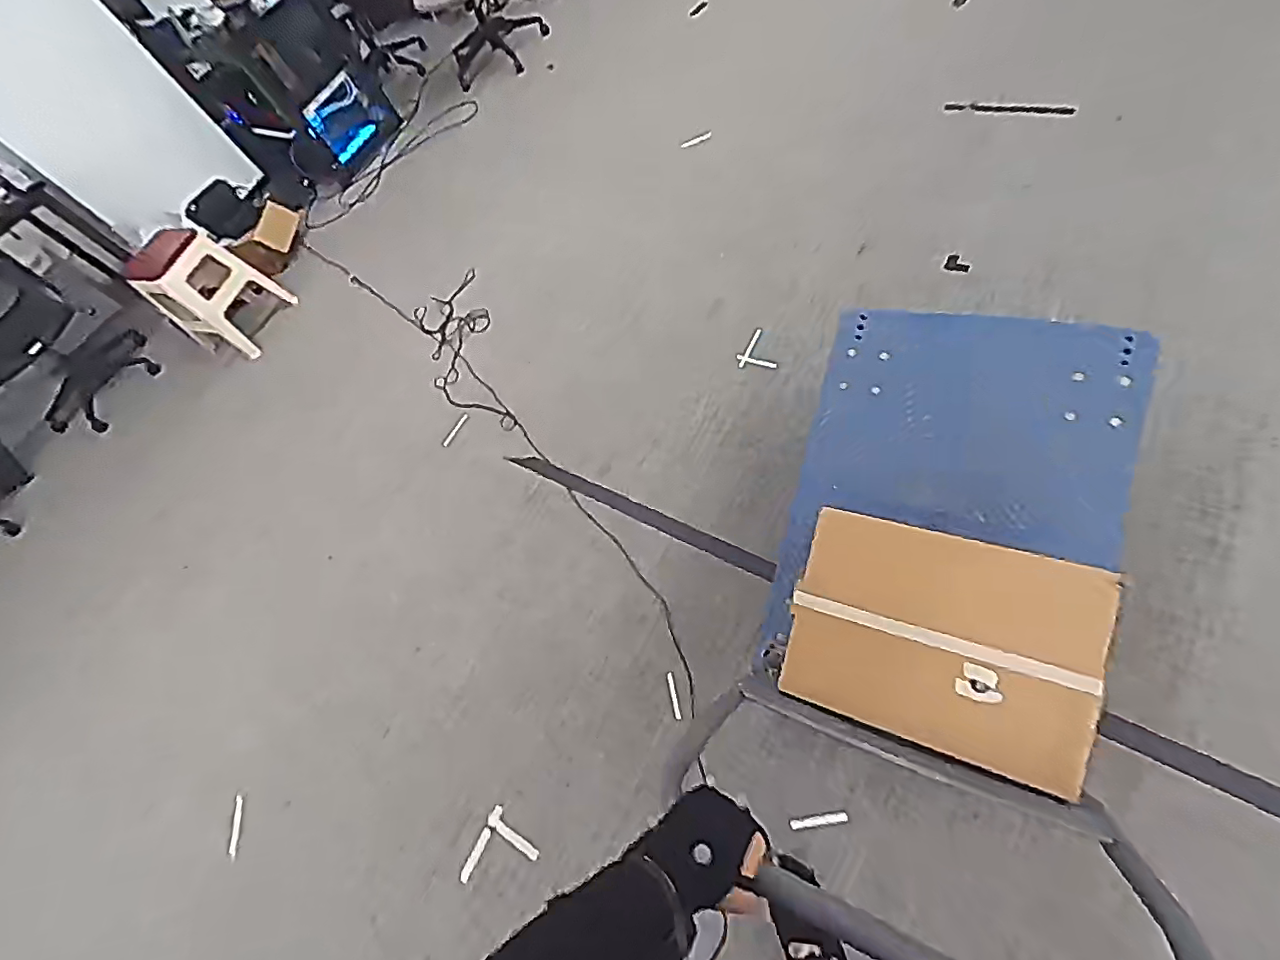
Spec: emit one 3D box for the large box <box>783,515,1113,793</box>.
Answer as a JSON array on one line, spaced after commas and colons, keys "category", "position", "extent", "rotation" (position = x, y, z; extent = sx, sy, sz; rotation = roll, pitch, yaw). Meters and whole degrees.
[{"category": "large box", "position": [0.504, 0.269, 0.960], "extent": [0.408, 0.320, 0.320], "rotation": [13, 86, 25]}]
